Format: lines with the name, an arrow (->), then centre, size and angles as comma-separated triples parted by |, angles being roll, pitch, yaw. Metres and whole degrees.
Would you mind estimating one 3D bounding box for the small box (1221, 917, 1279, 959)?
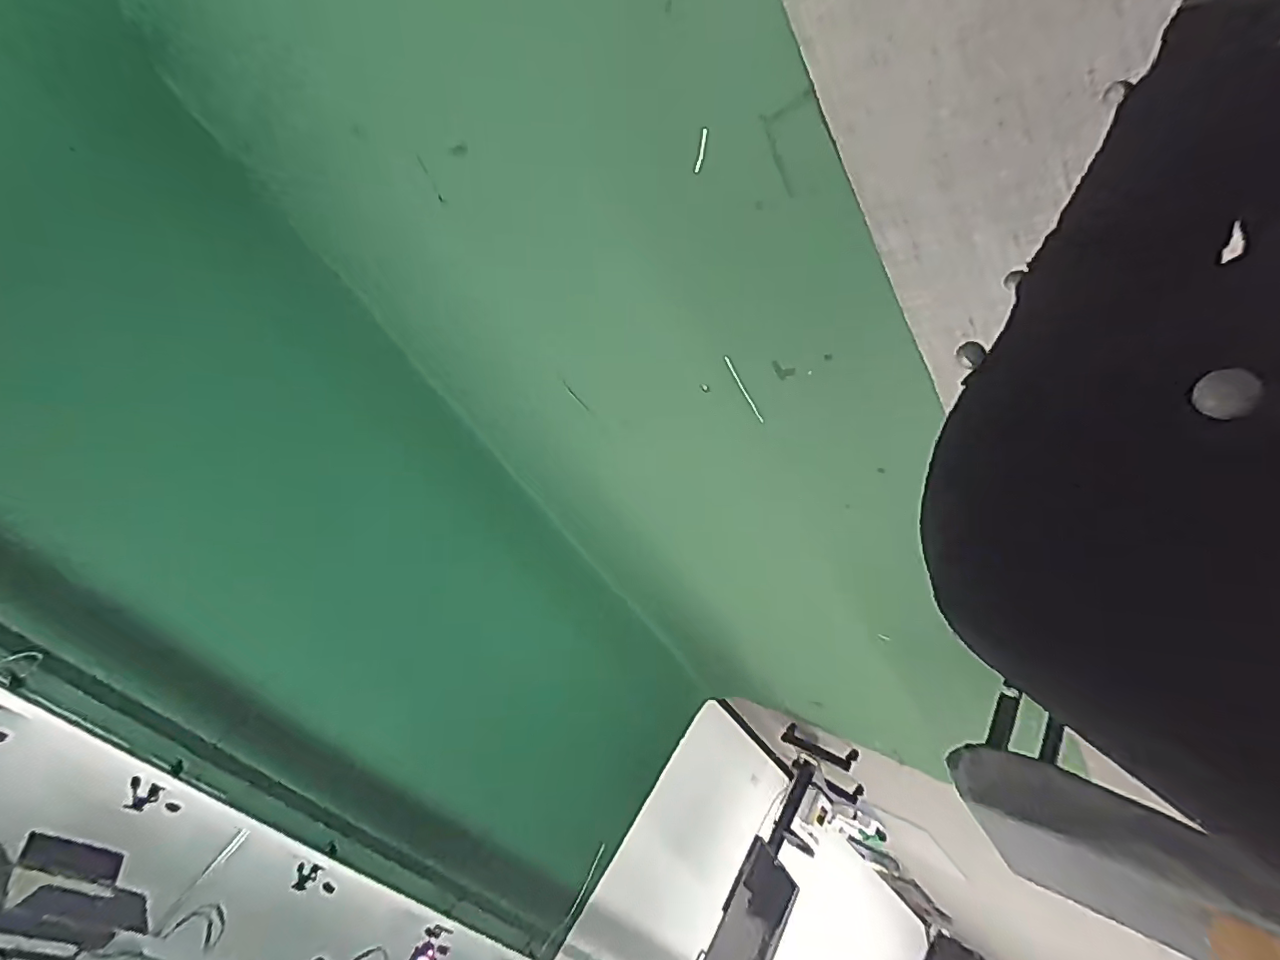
small box -> 1.485, 1.178, 1.258 | 0.179, 0.176, 0.168 | 0, 134, 52
